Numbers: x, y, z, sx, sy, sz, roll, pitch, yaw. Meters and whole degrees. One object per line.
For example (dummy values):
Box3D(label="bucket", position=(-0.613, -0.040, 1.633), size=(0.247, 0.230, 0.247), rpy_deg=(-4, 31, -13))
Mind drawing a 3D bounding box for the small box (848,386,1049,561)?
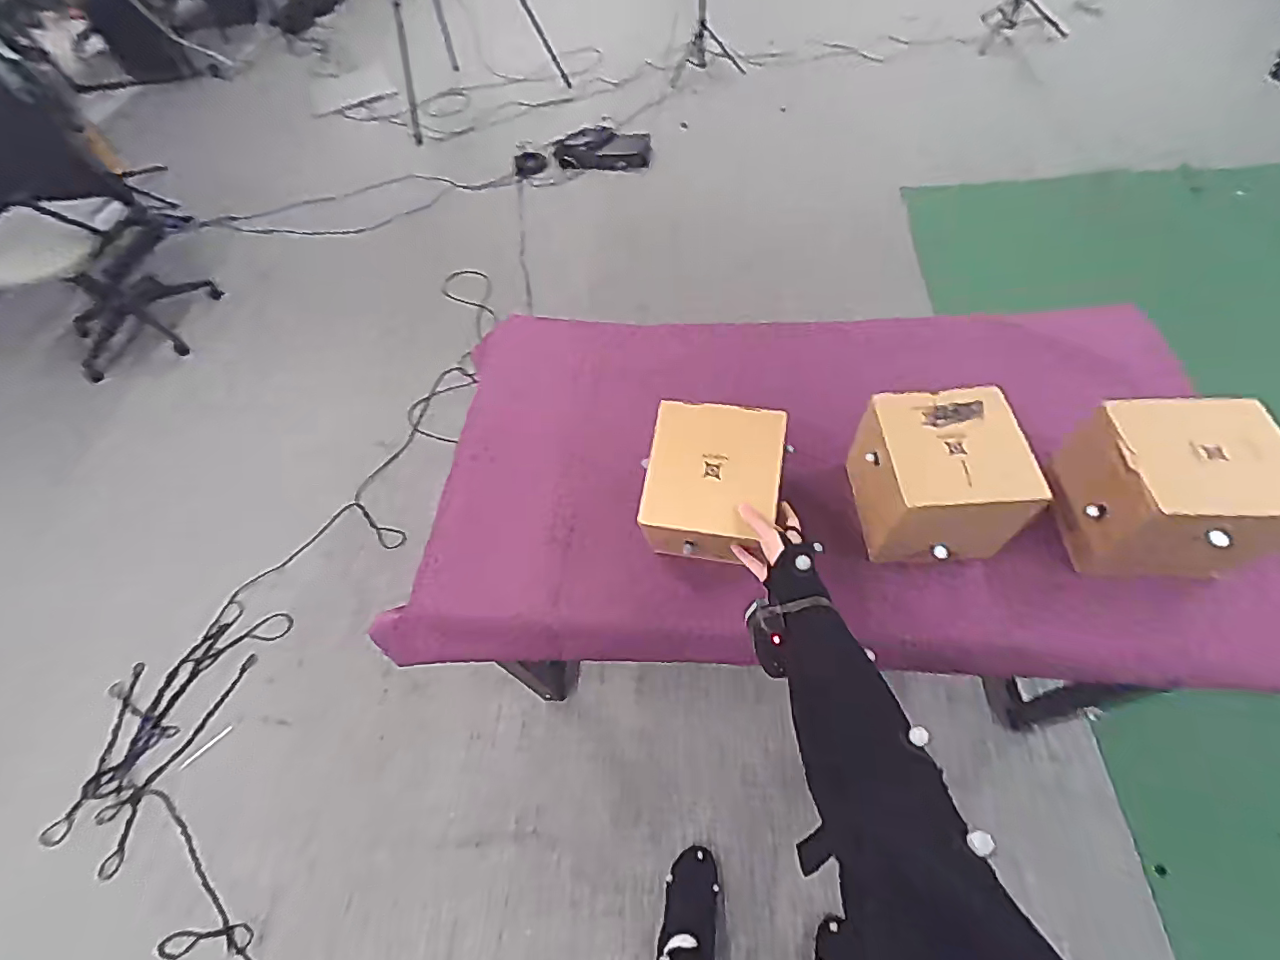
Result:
Box3D(label="small box", position=(0.397, -0.005, 0.738), size=(0.168, 0.176, 0.179), rpy_deg=(-3, 58, 5))

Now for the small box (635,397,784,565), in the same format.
Box3D(label="small box", position=(0.102, 0.008, 0.750), size=(0.168, 0.176, 0.179), rpy_deg=(7, 68, 12))

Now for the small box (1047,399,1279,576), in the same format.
Box3D(label="small box", position=(0.664, 0.014, 0.692), size=(0.179, 0.176, 0.168), rpy_deg=(1, 56, 8))
